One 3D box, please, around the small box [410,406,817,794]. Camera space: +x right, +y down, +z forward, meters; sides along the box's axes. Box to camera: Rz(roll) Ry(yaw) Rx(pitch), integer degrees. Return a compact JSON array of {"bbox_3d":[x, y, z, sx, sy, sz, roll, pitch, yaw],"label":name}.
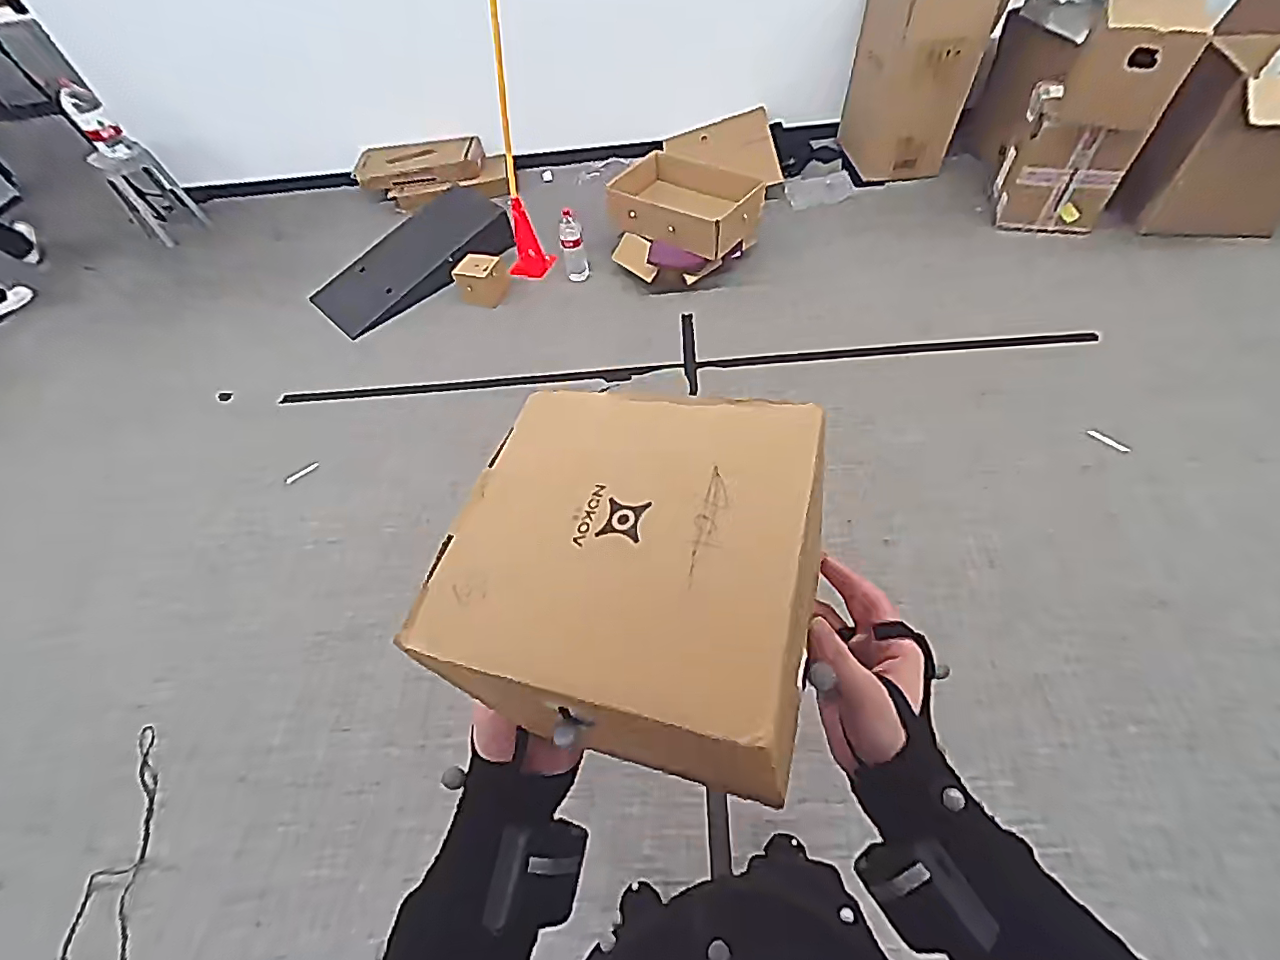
[{"bbox_3d":[0.009,0.073,0.333,0.179,0.176,0.168,6,56,21],"label":"small box"}]
